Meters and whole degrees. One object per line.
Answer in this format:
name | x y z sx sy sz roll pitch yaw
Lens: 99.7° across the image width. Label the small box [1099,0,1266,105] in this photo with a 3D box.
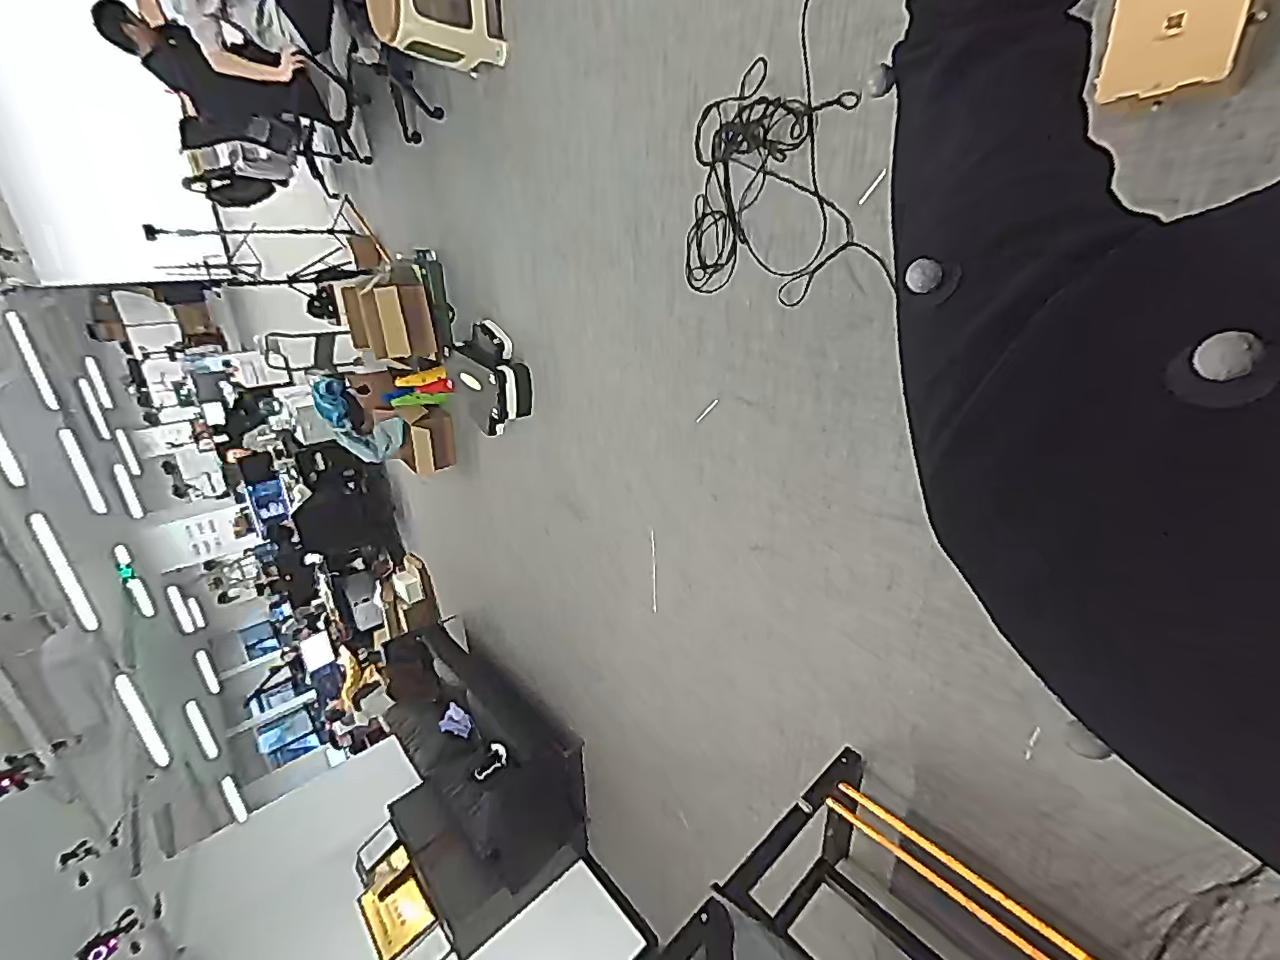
small box | 0.903 -0.751 0.896 0.168 0.176 0.179 20 122 45
